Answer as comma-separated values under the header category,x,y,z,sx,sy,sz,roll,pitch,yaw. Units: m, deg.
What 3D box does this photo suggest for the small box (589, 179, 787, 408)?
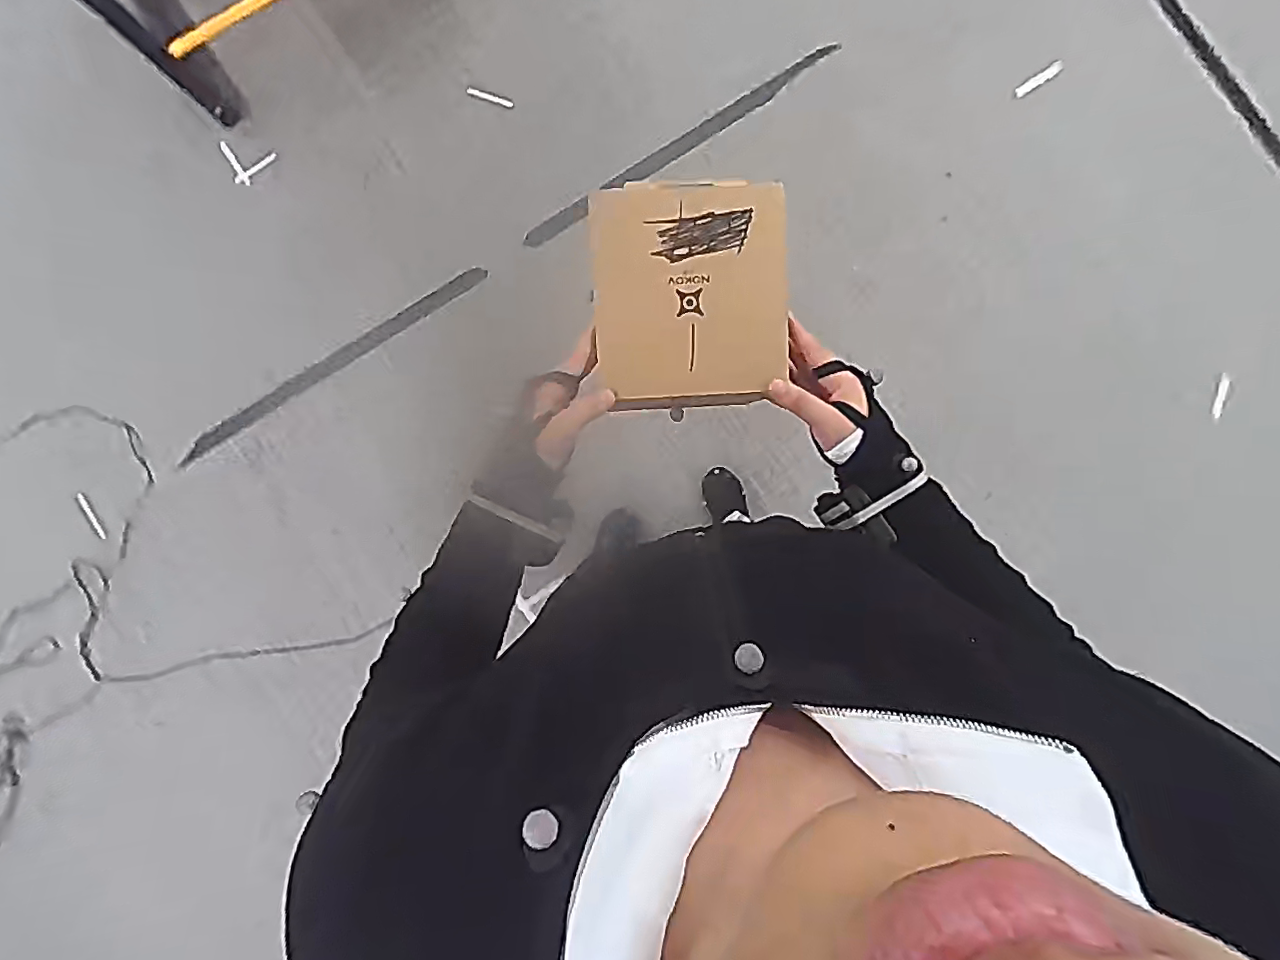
category,x,y,z,sx,sy,sz,roll,pitch,yaw
small box,0.039,-0.168,0.538,0.168,0.176,0.179,-4,95,-1

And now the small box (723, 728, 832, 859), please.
category,x,y,z,sx,sy,sz,roll,pitch,yaw
small box,0.318,0.734,1.287,0.168,0.176,0.179,-34,89,-1
